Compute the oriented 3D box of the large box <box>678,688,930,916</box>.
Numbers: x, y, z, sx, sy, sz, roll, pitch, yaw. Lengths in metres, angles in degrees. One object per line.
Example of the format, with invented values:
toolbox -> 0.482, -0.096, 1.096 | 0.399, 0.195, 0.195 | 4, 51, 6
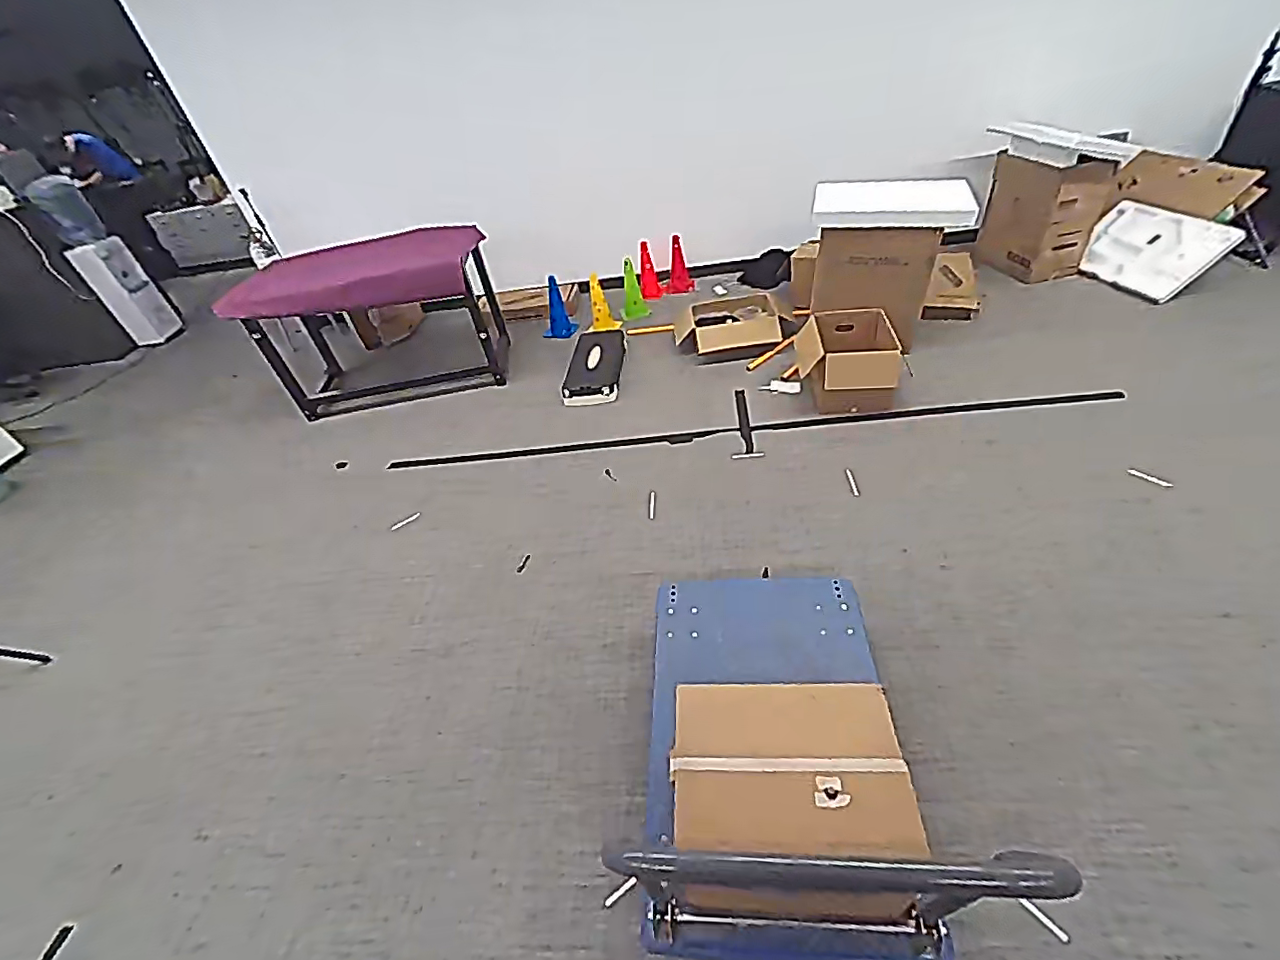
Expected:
large box -> 0.284, 0.636, 1.076 | 0.408, 0.320, 0.320 | -3, 41, 7
